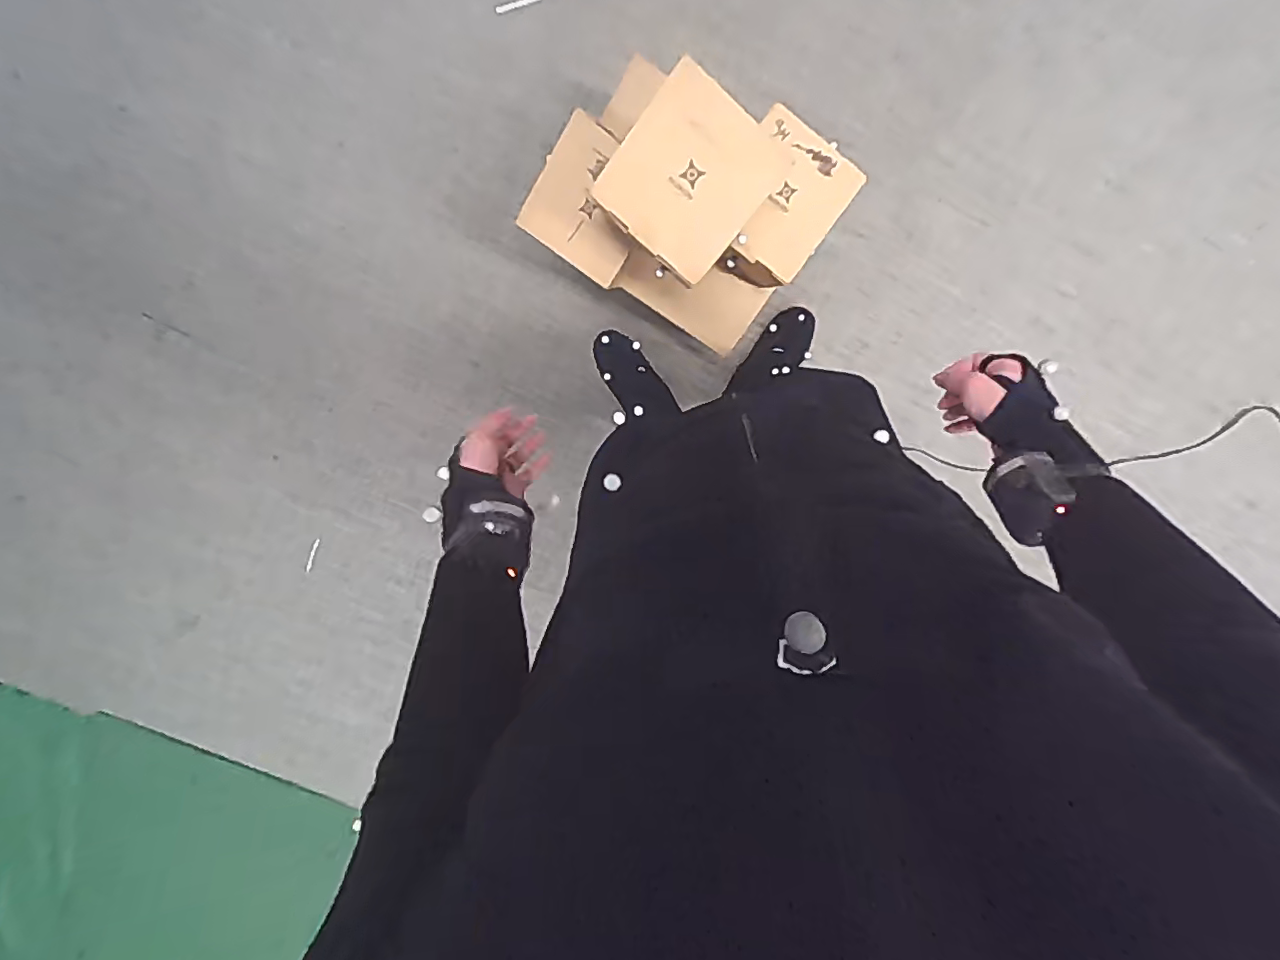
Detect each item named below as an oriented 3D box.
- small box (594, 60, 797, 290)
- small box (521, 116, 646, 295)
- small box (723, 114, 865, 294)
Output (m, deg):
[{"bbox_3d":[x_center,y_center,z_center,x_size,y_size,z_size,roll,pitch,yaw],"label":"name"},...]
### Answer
[{"bbox_3d":[0.065,-0.362,0.689,0.168,0.176,0.179,38,104,-10],"label":"small box"},{"bbox_3d":[-0.057,-0.414,0.849,0.168,0.176,0.179,35,108,-9],"label":"small box"},{"bbox_3d":[0.206,-0.408,0.841,0.168,0.176,0.179,34,105,-8],"label":"small box"}]
